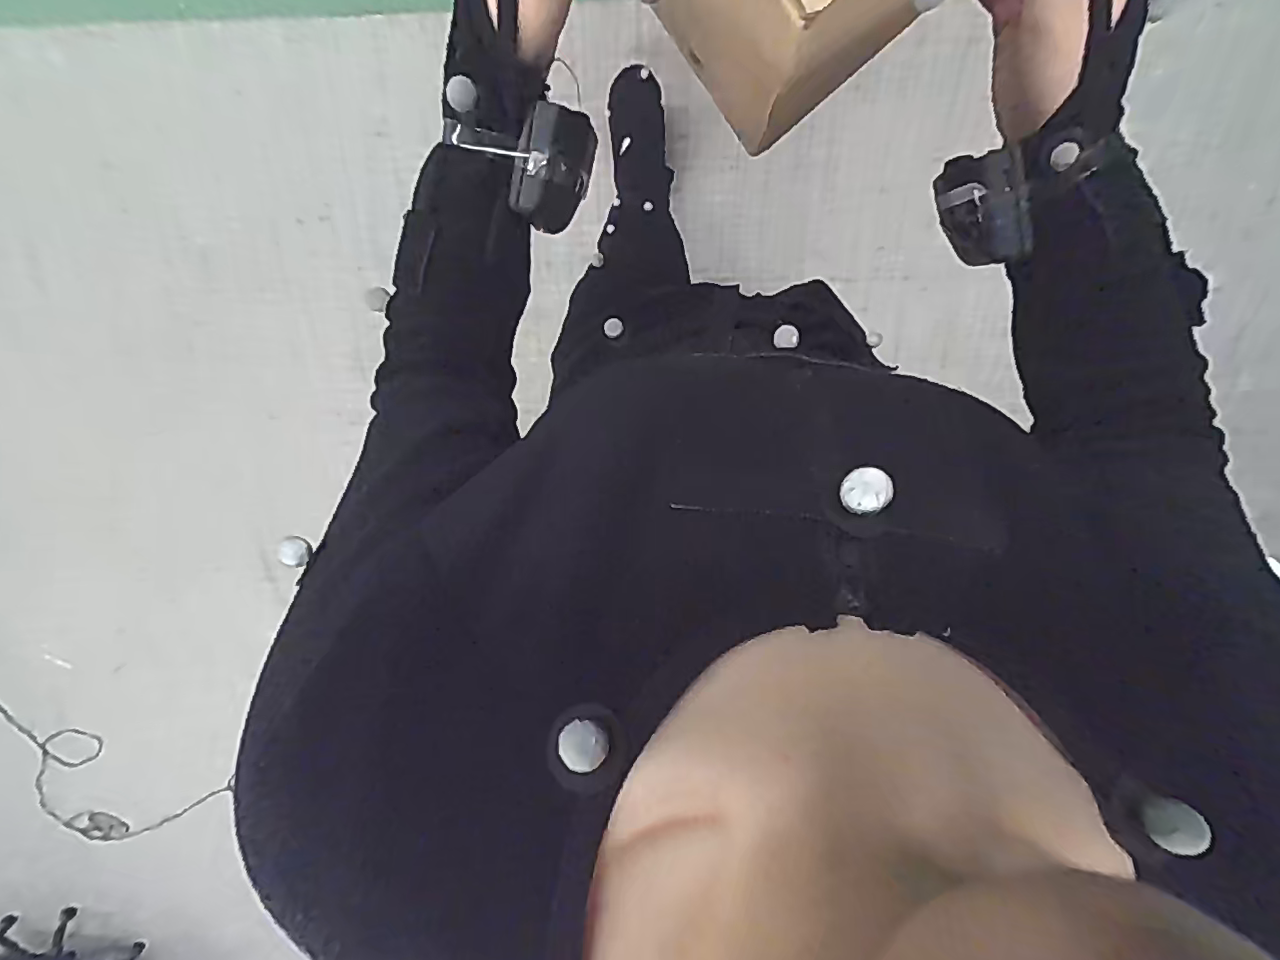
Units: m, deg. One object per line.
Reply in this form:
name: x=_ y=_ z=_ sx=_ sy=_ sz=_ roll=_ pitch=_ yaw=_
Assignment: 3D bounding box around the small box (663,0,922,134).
small box: x=0.078 y=-0.293 z=0.228 sx=0.179 sy=0.176 sz=0.168 roll=-36 pitch=101 yaw=16
